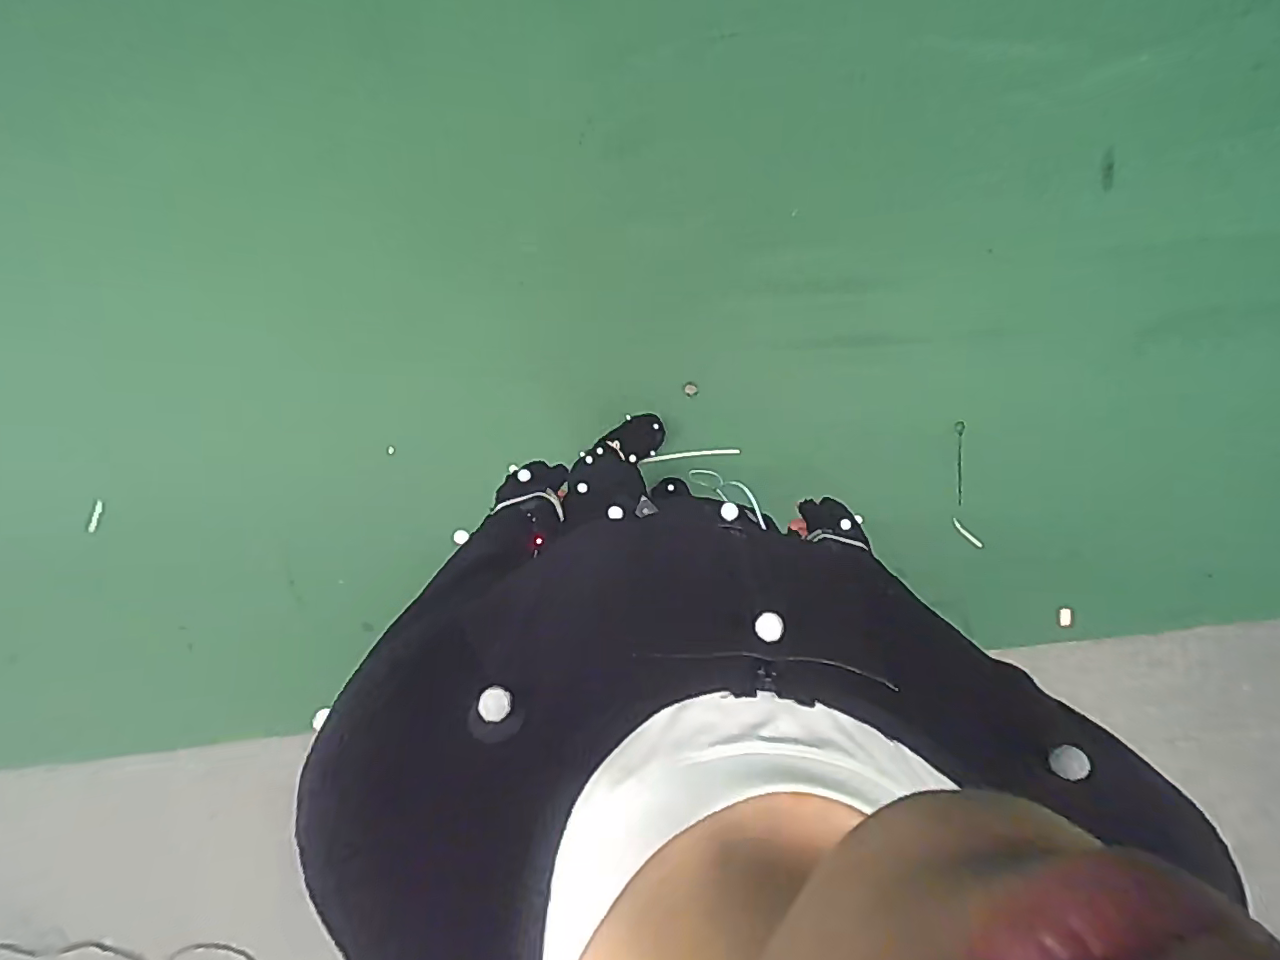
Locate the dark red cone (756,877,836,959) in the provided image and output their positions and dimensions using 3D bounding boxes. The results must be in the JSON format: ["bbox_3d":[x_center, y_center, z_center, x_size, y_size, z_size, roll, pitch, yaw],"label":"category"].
[{"bbox_3d":[0.438,1.227,1.354,0.202,0.394,0.201,-13,92,0],"label":"dark red cone"}]
